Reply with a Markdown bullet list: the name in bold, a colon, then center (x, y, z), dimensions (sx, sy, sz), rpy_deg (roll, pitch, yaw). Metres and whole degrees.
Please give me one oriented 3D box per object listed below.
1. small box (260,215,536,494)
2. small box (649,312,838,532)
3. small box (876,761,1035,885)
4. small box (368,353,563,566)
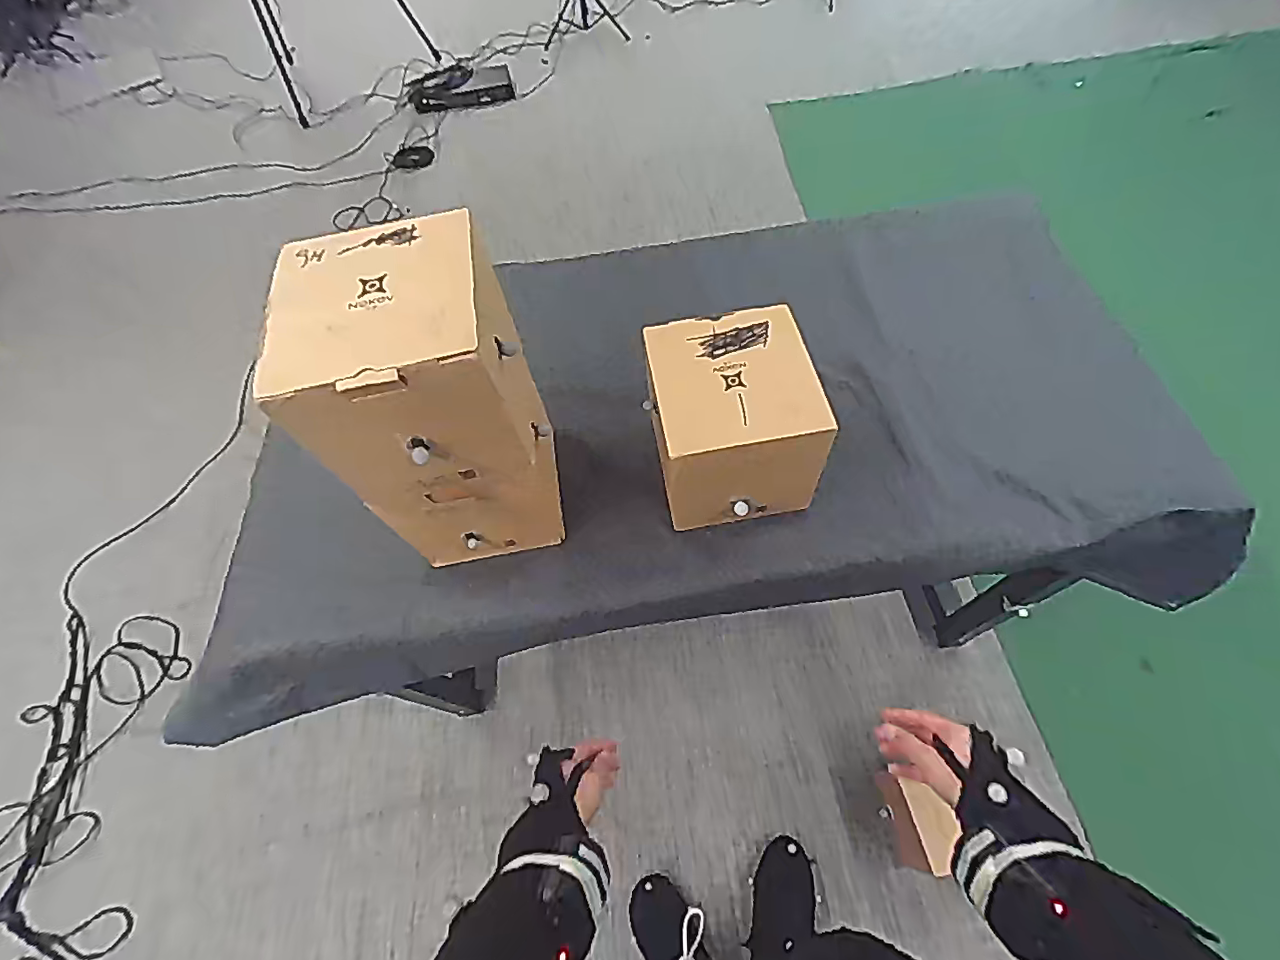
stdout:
- **small box**: center (-0.200, -0.102, 0.496), dimensions (0.168, 0.176, 0.179), rpy_deg (-12, 60, -2)
- **small box**: center (0.105, -0.062, 0.628), dimensions (0.168, 0.176, 0.179), rpy_deg (-10, 59, 1)
- **small box**: center (0.577, 0.637, 1.017), dimensions (0.179, 0.176, 0.168), rpy_deg (-11, 58, 0)
- **small box**: center (-0.191, -0.020, 0.637), dimensions (0.168, 0.176, 0.179), rpy_deg (-10, 59, -1)
